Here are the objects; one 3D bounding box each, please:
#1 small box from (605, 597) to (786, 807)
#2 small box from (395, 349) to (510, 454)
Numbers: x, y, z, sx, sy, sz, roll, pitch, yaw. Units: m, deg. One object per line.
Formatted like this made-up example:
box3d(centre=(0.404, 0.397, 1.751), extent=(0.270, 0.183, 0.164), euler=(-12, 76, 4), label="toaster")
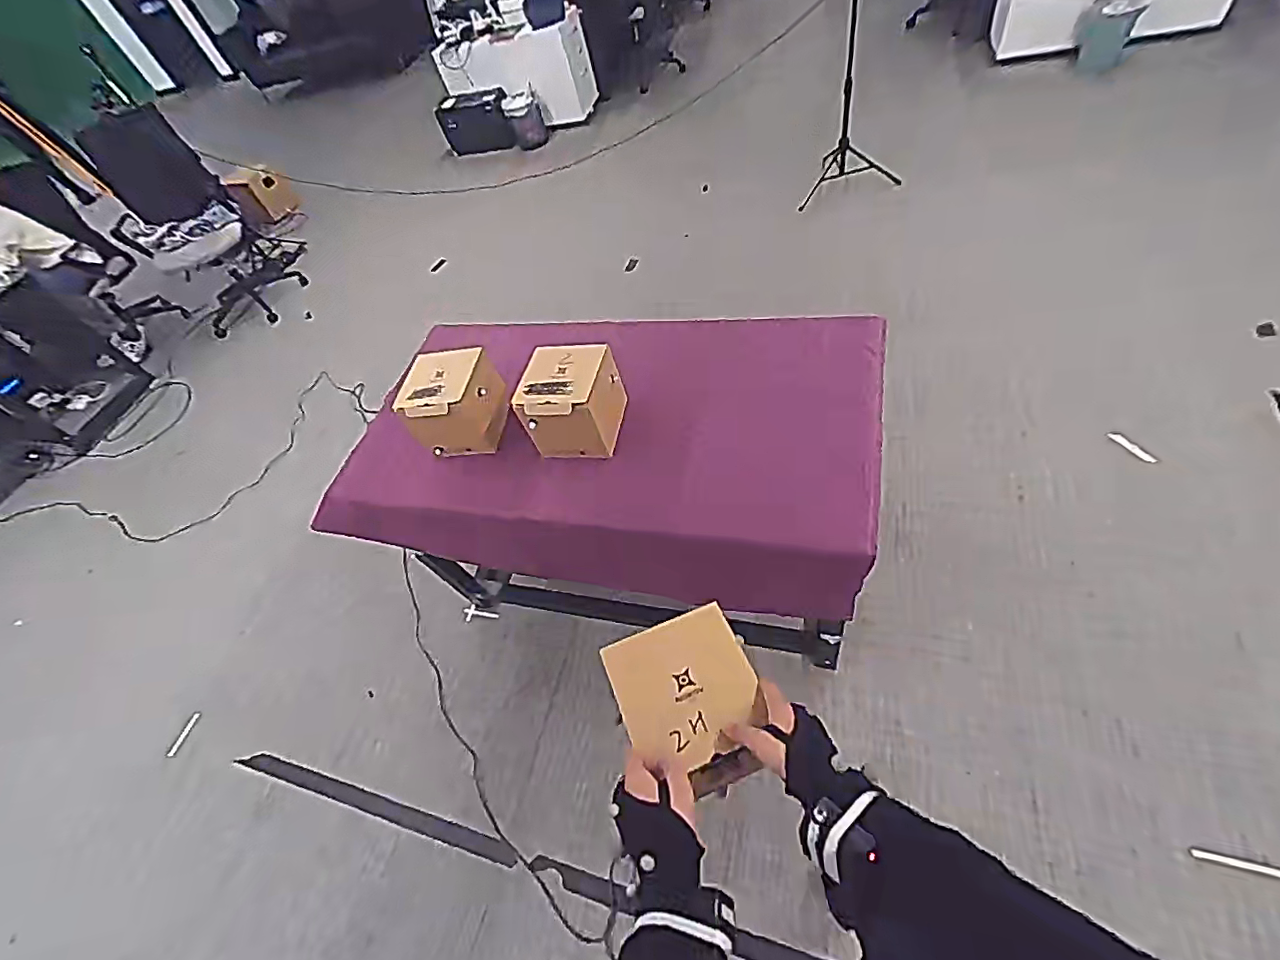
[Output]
box3d(centre=(0.066, 0.288, 0.699), extent=(0.168, 0.176, 0.179), euler=(-21, 51, -8), label="small box")
box3d(centre=(-0.416, -0.171, 1.234), extent=(0.168, 0.176, 0.179), euler=(-4, 54, 13), label="small box")
